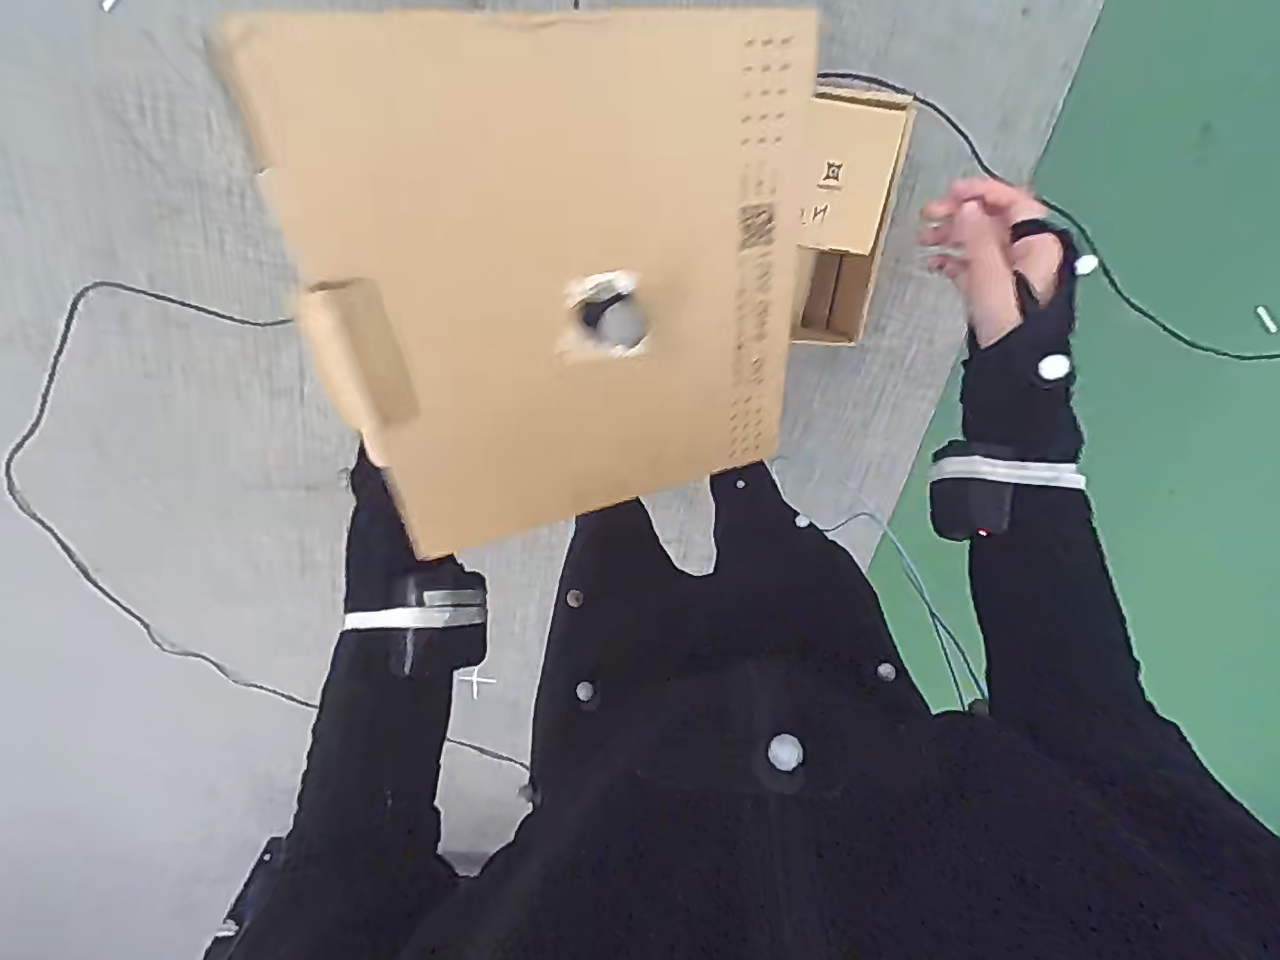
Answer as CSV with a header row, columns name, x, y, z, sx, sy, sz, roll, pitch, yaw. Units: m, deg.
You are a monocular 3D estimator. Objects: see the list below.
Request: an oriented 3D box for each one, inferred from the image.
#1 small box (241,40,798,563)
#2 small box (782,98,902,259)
name,x,y,z,sx,sy,sz,roll,pitch,yaw
small box,-0.048,-0.096,0.259,0.176,0.179,0.168,-17,127,-19
small box,0.246,-0.434,0.800,0.168,0.176,0.179,5,115,-5
